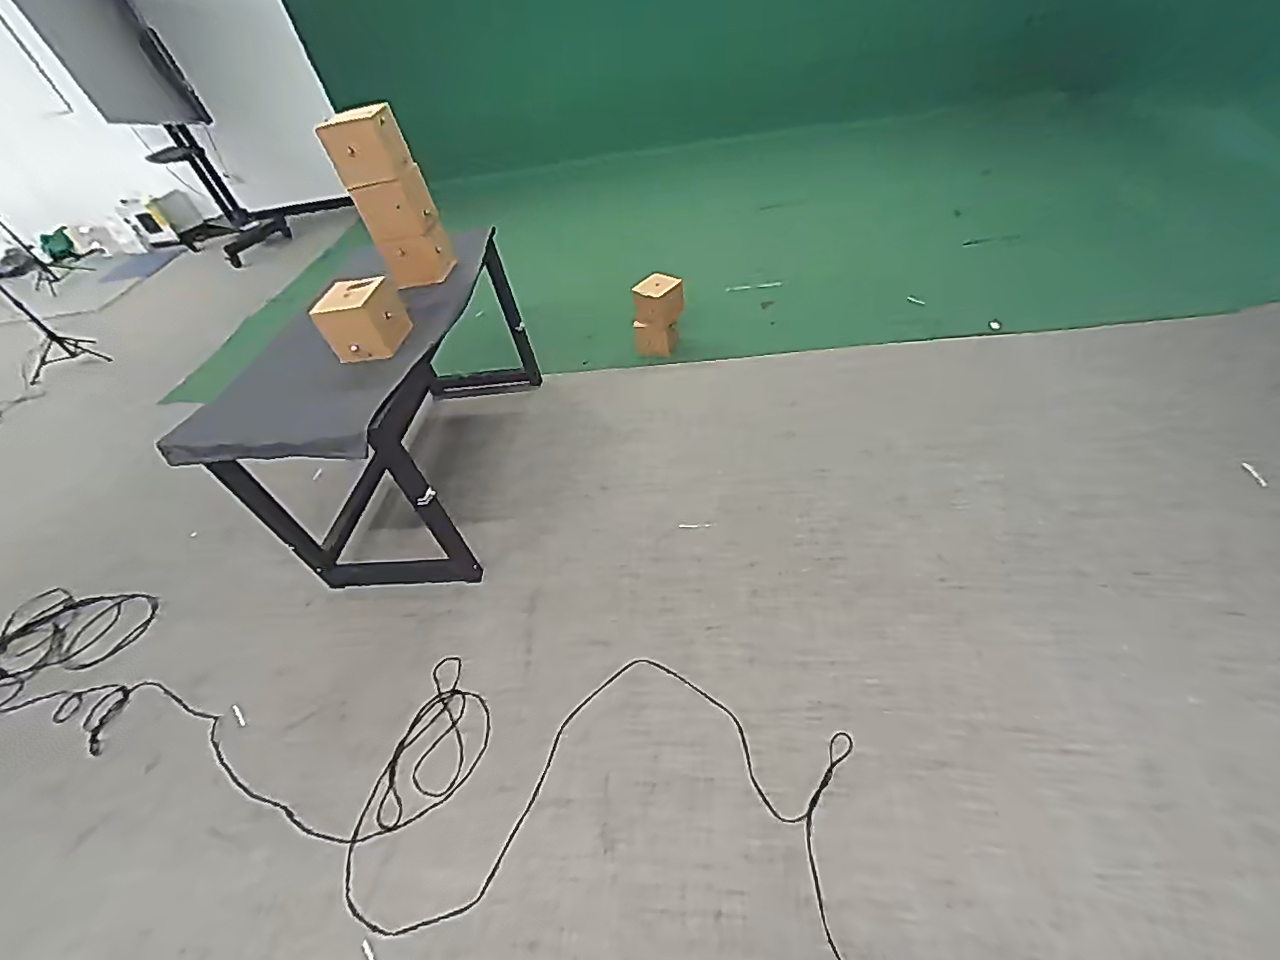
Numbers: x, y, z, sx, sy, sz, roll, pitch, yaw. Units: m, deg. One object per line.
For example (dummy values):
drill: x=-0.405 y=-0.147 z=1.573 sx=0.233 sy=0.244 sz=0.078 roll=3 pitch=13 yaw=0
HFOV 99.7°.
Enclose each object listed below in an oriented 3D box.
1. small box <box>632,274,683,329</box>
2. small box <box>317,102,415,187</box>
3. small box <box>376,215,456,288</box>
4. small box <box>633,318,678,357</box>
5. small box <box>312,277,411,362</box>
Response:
small box: x=0.090 y=-0.830 z=2.522 sx=0.168 sy=0.176 sz=0.179 roll=29 pitch=58 yaw=31
small box: x=-0.819 y=-1.009 z=1.635 sx=0.179 sy=0.176 sz=0.168 roll=-7 pitch=47 yaw=8
small box: x=-0.764 y=-0.787 z=1.871 sx=0.179 sy=0.176 sz=0.168 roll=-4 pitch=46 yaw=10
small box: x=0.083 y=-0.722 z=2.648 sx=0.168 sy=0.176 sz=0.179 roll=10 pitch=50 yaw=20
small box: x=-0.795 y=-0.462 z=1.568 sx=0.168 sy=0.176 sz=0.179 roll=-3 pitch=47 yaw=10
